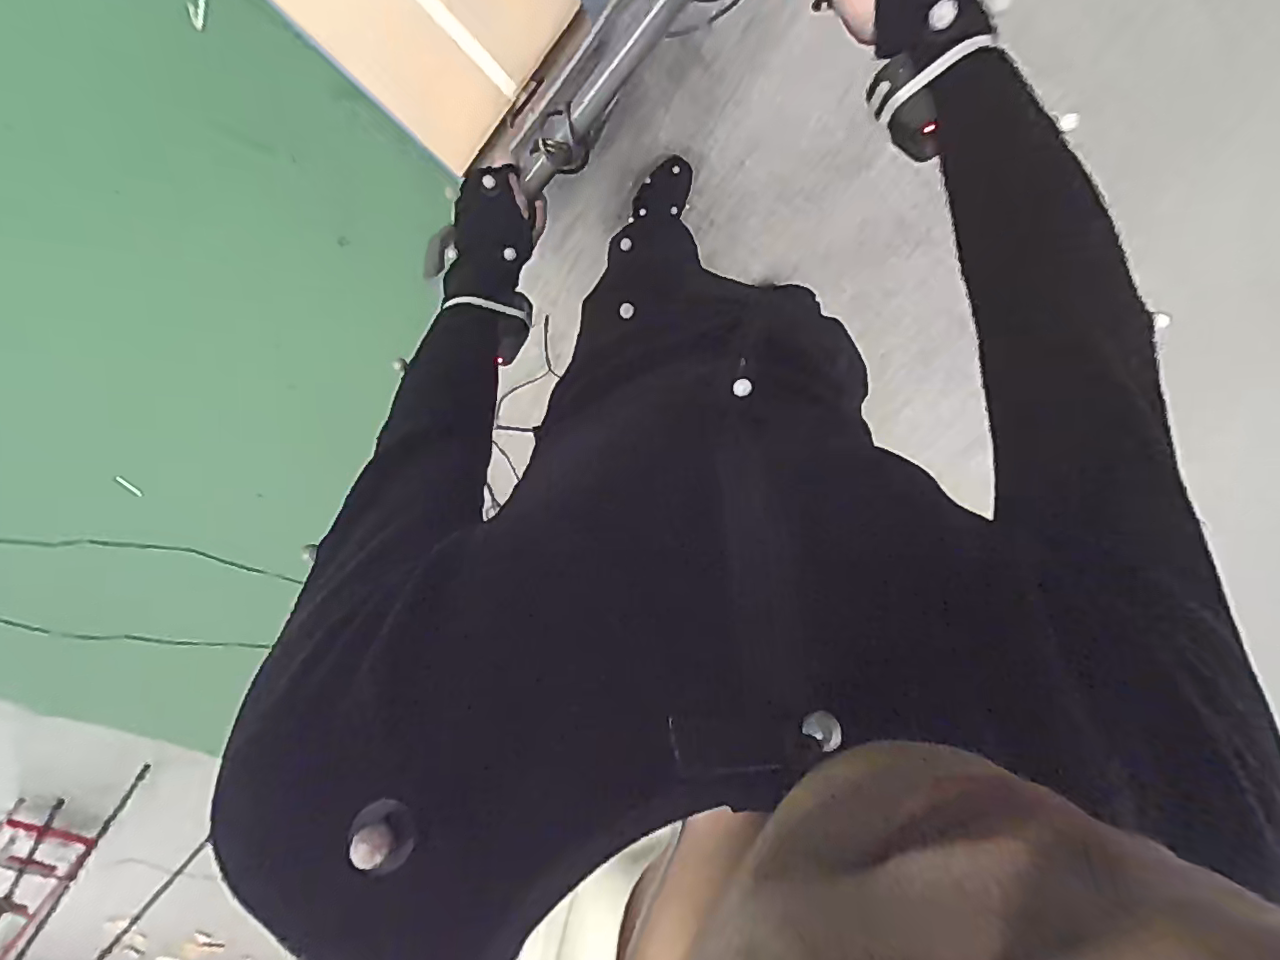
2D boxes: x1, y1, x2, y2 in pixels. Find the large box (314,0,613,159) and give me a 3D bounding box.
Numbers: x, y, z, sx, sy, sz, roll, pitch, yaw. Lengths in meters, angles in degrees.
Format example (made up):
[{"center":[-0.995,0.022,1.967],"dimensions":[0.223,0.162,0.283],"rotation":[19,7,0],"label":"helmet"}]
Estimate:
[{"center":[-0.297,-0.811,0.875],"dimensions":[0.320,0.320,0.408],"rotation":[-37,116,23],"label":"large box"}]
